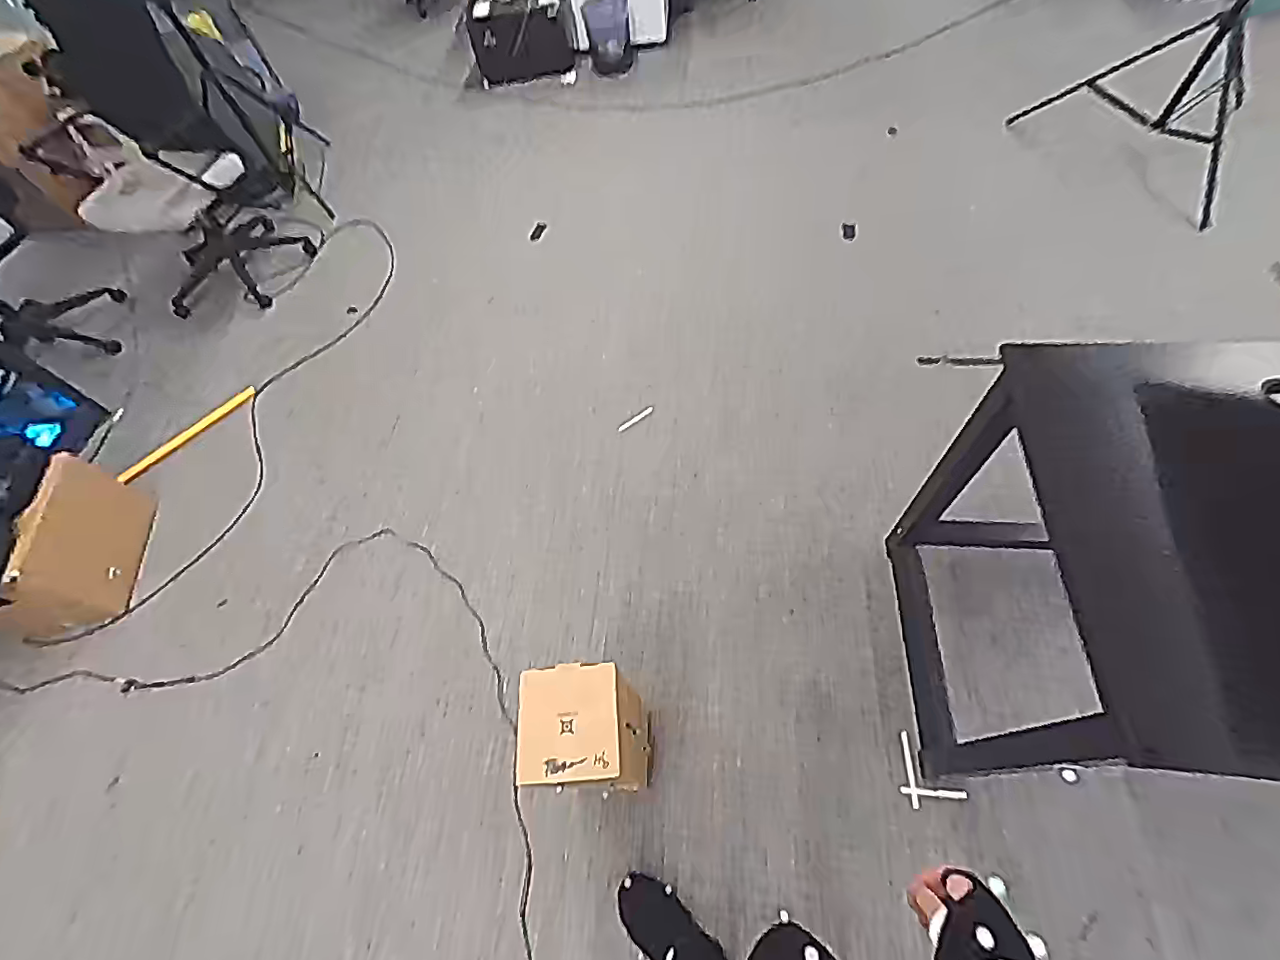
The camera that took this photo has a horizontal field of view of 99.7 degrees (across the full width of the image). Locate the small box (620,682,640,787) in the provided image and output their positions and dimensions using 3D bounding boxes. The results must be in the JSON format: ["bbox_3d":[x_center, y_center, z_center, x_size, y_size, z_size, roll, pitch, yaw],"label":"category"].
[{"bbox_3d":[-0.090,0.517,1.087,0.168,0.176,0.179,-5,57,4],"label":"small box"}]

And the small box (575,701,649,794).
[{"bbox_3d":[-0.071,0.605,1.221,0.168,0.176,0.179,-2,60,6],"label":"small box"}]

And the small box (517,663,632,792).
[{"bbox_3d":[-0.108,0.435,0.944,0.168,0.176,0.179,-7,58,3],"label":"small box"}]
